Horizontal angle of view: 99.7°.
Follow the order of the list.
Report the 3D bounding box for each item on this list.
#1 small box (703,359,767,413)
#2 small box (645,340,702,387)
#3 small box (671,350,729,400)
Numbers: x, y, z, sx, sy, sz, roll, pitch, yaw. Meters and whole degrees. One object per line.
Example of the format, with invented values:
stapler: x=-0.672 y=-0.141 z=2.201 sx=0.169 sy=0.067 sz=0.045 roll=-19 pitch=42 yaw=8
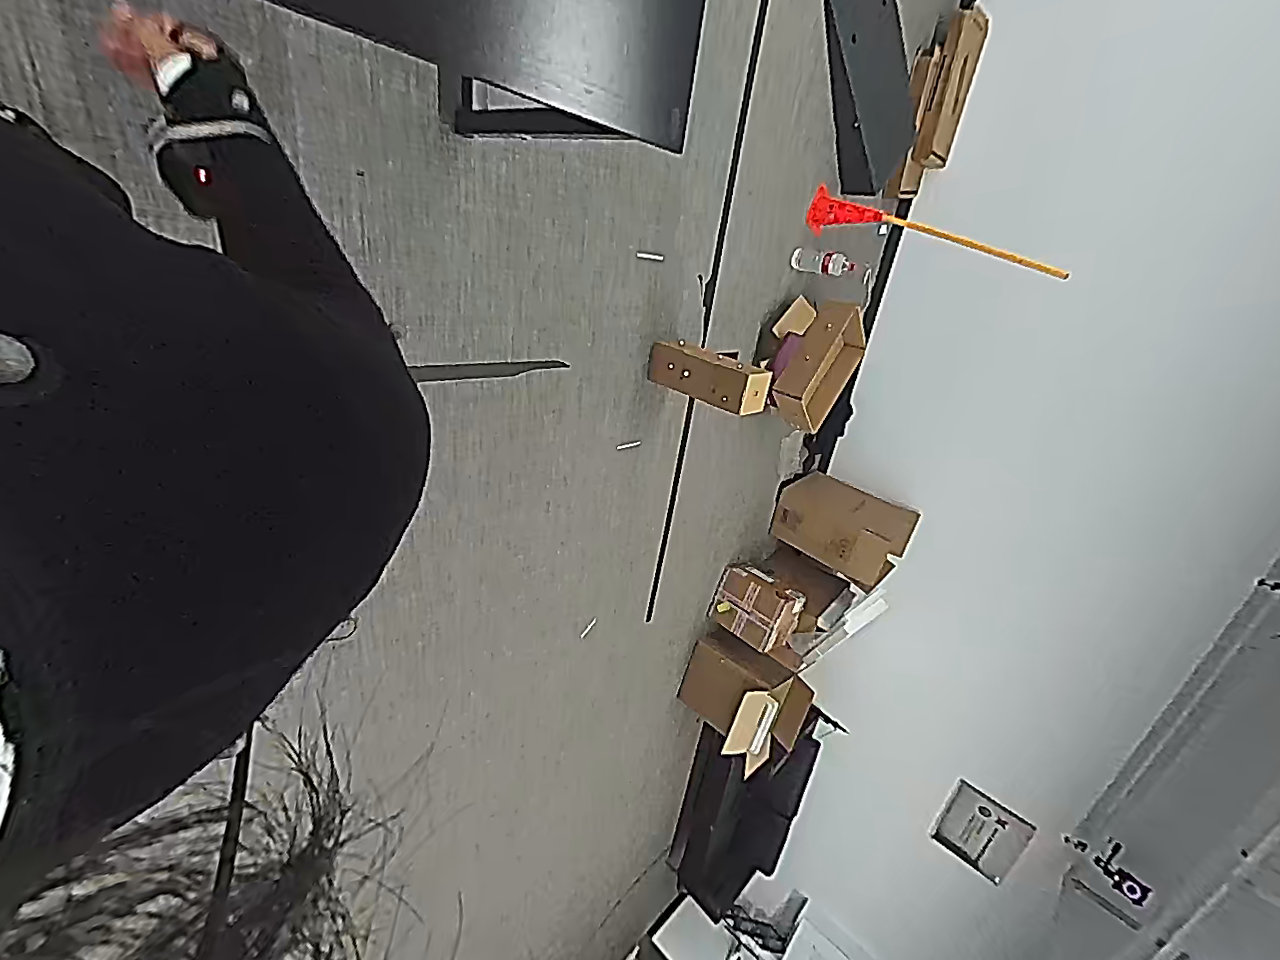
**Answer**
small box: x=0.374 y=-0.379 z=2.158 sx=0.179 sy=0.176 sz=0.168 roll=-18 pitch=127 yaw=-46
small box: x=0.140 y=-0.508 z=2.346 sx=0.168 sy=0.176 sz=0.179 roll=-16 pitch=125 yaw=-45
small box: x=0.255 y=-0.442 z=2.249 sx=0.179 sy=0.176 sz=0.168 roll=-16 pitch=124 yaw=-45
